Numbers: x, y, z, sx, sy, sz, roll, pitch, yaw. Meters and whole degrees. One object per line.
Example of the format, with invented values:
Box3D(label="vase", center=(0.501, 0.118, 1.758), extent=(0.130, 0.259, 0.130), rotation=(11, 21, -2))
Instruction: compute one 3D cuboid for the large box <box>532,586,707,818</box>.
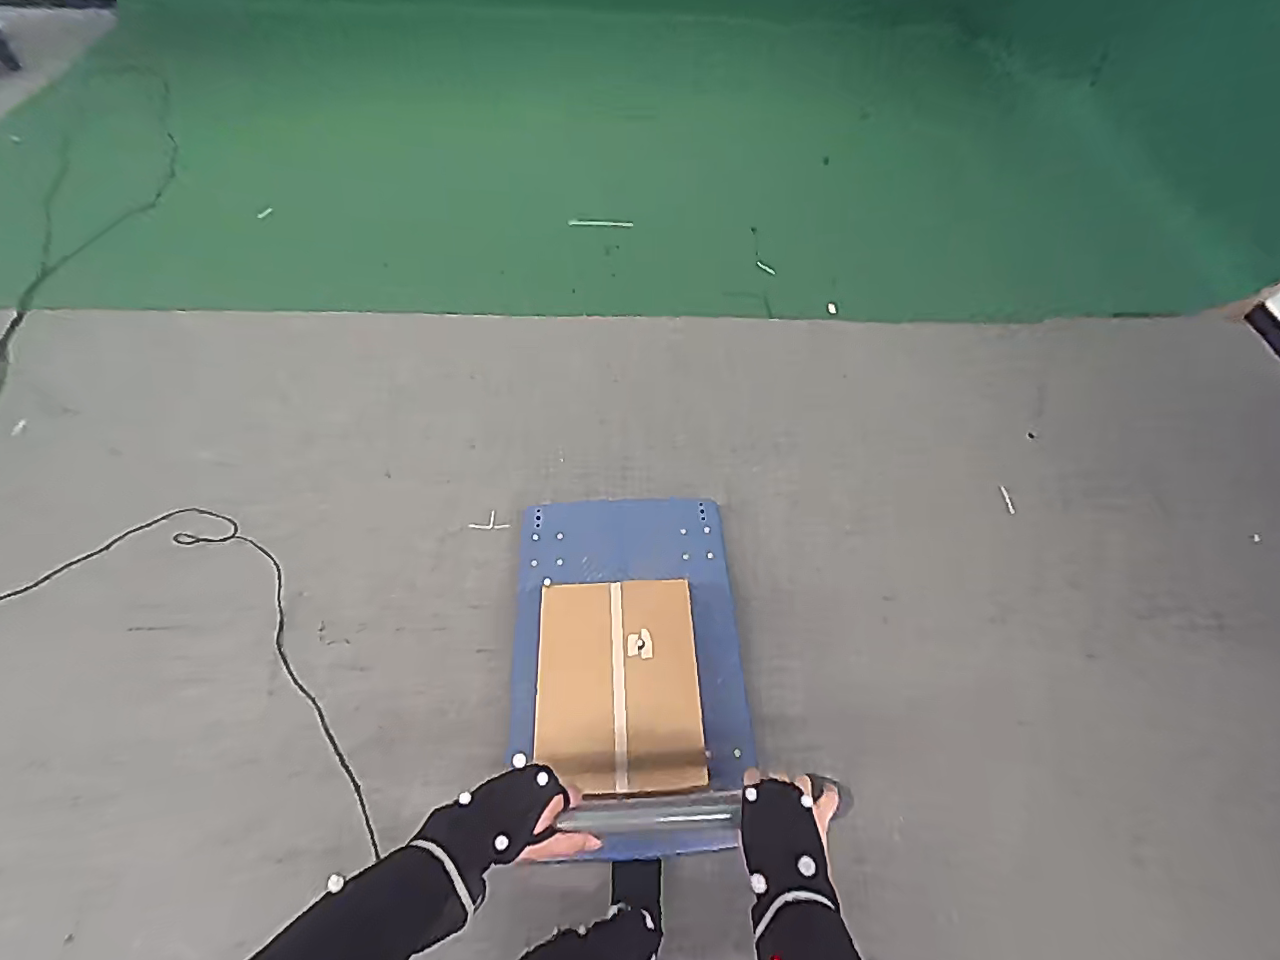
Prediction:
Box3D(label="large box", center=(-0.050, 0.483, 1.174), extent=(0.320, 0.320, 0.408), rotation=(-1, 56, -4))
